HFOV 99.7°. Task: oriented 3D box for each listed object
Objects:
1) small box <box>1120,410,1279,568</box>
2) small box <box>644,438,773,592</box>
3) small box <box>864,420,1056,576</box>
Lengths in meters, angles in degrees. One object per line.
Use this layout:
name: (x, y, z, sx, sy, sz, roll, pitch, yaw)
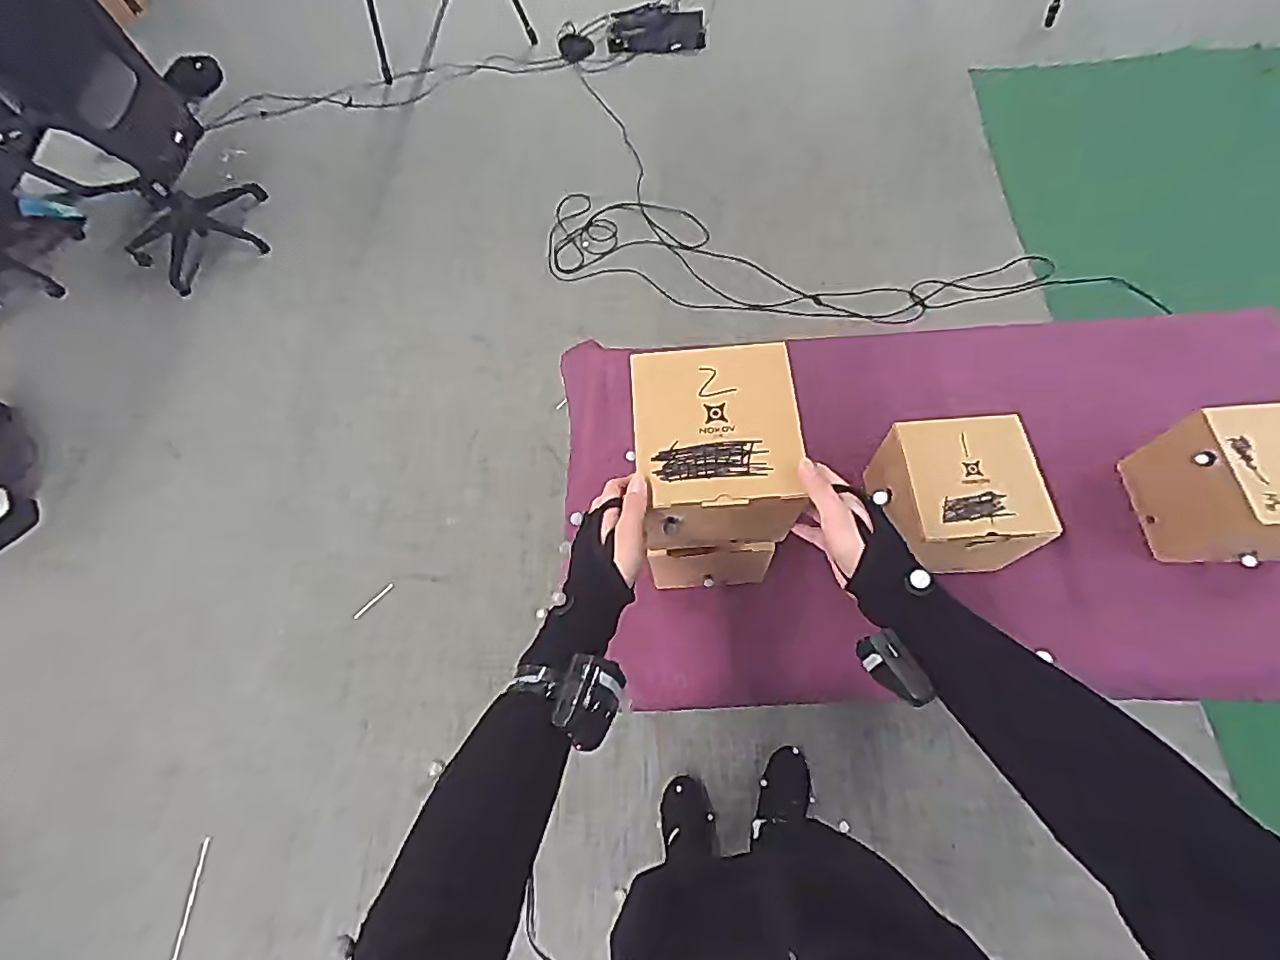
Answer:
small box: (0.828, 0.018, 0.739, 0.179, 0.176, 0.168, -2, 64, 6)
small box: (0.095, 0.058, 0.804, 0.168, 0.176, 0.179, -5, 64, 5)
small box: (0.439, 0.035, 0.777, 0.168, 0.176, 0.179, -3, 63, 5)
